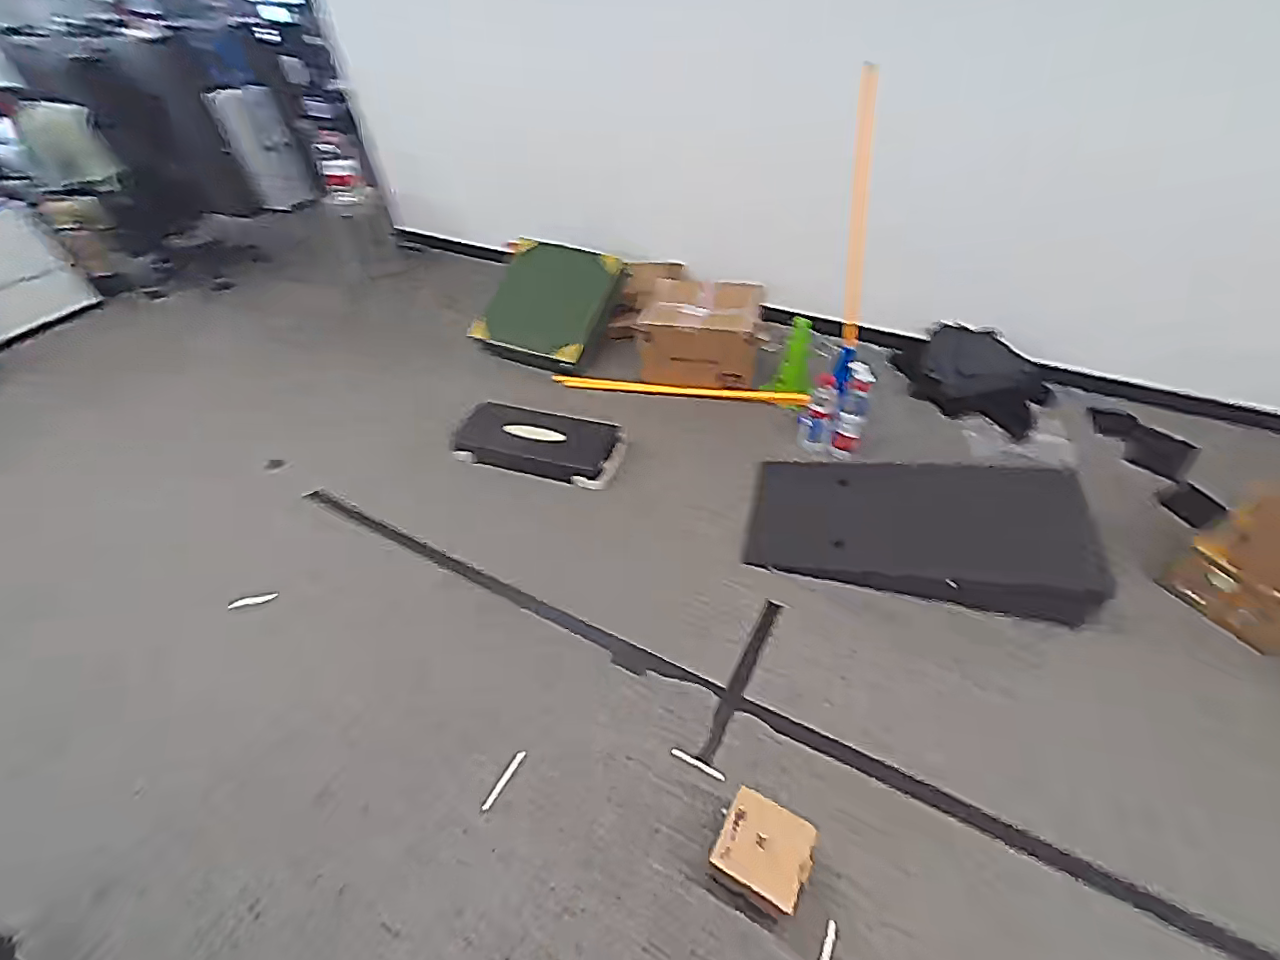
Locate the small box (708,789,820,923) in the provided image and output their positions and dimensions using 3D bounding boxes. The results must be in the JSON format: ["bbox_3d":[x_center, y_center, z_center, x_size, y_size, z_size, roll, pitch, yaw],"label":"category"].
[{"bbox_3d":[0.261,0.808,1.160,0.179,0.176,0.168,23,52,22],"label":"small box"}]
